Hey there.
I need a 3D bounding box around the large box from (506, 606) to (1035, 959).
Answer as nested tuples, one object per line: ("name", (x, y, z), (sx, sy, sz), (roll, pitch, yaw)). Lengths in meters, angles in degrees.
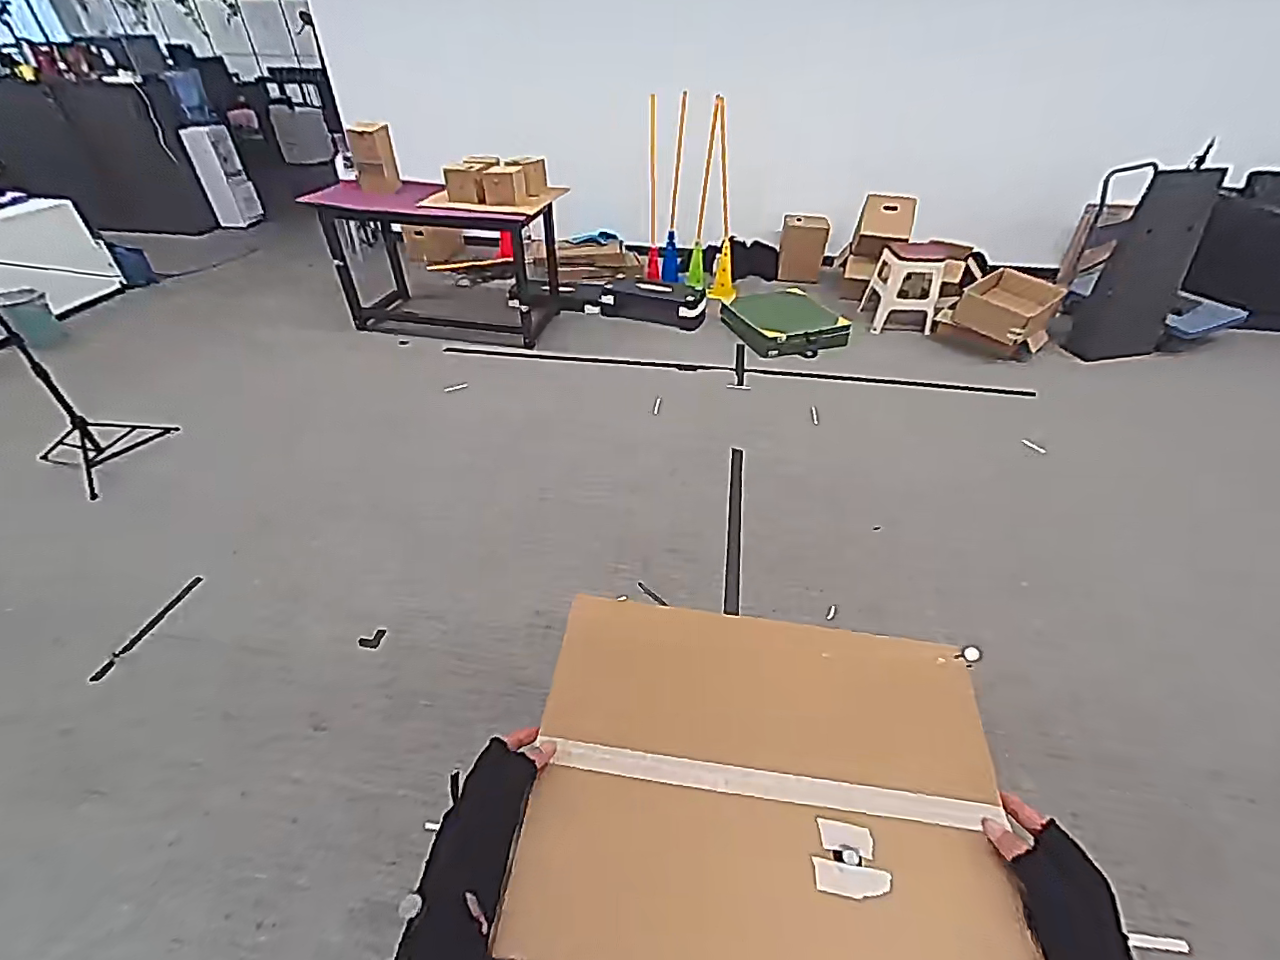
("large box", (0.109, 0.369, 0.591), (0.408, 0.320, 0.320), (7, 50, 4))
